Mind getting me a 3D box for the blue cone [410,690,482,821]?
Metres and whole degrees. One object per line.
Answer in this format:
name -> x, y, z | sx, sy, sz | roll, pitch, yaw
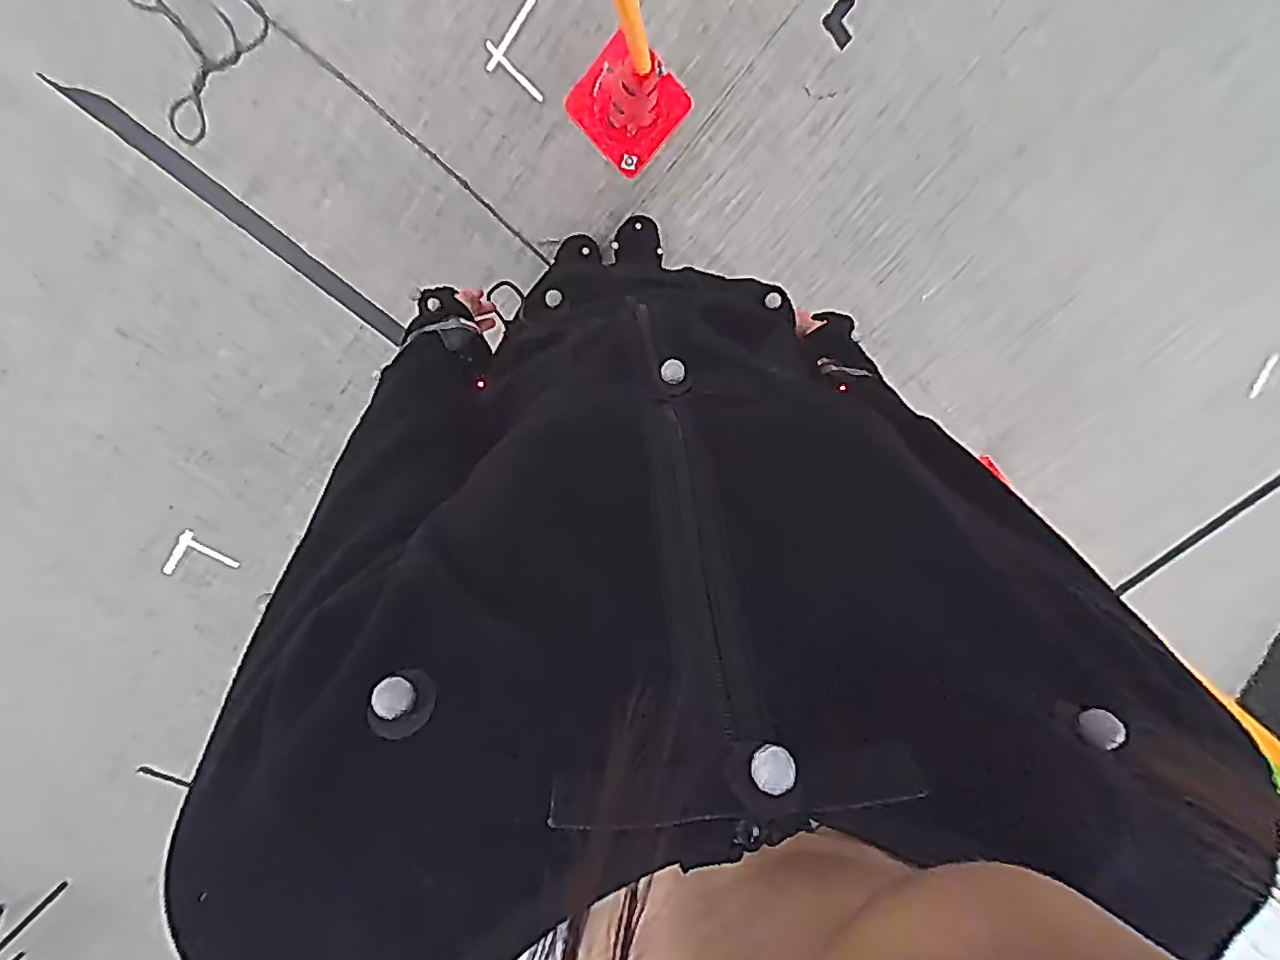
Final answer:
blue cone -> -0.649, 0.888, 1.718 | 0.193, 0.380, 0.192 | -42, 112, 15
